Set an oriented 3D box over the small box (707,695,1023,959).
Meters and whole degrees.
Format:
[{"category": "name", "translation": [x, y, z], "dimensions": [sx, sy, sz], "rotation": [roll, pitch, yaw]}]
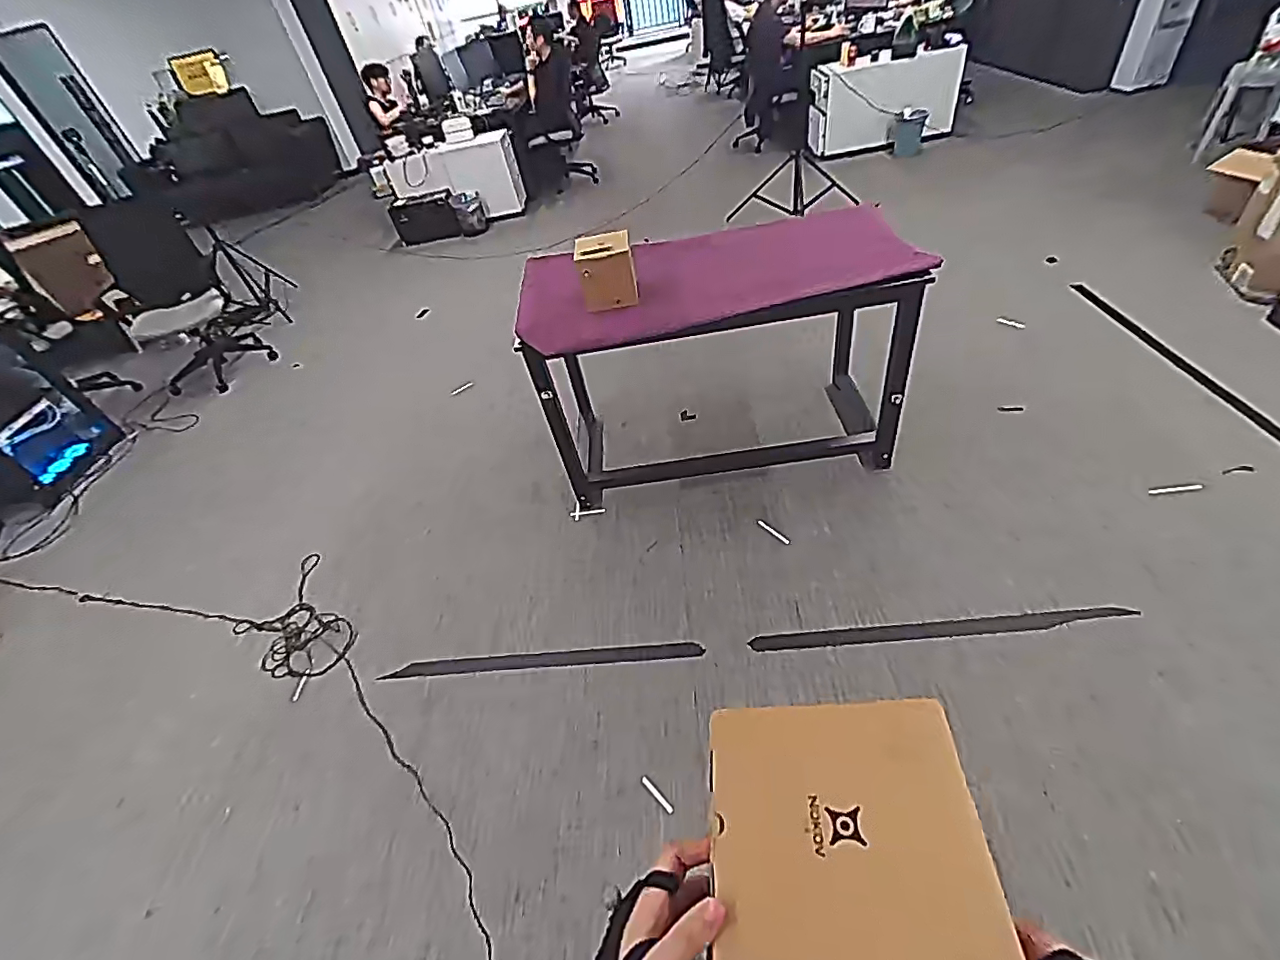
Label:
[{"category": "small box", "translation": [0.154, 0.284, 0.416], "dimensions": [0.179, 0.176, 0.168], "rotation": [-10, 41, 15]}]
